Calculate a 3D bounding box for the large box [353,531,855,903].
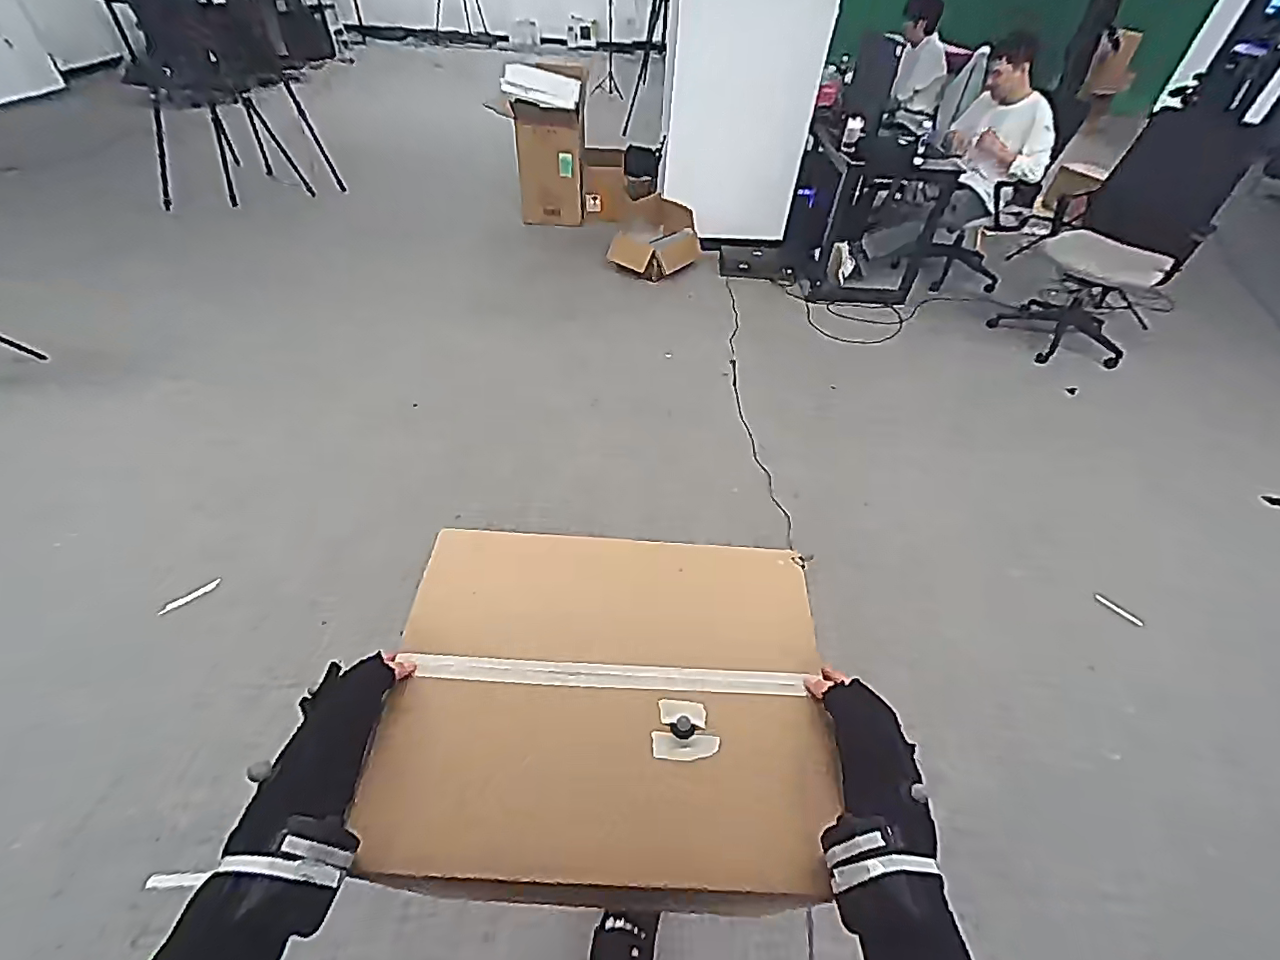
[{"bbox_3d":[-0.033,0.282,0.629,0.408,0.320,0.320,4,49,-2],"label":"large box"}]
